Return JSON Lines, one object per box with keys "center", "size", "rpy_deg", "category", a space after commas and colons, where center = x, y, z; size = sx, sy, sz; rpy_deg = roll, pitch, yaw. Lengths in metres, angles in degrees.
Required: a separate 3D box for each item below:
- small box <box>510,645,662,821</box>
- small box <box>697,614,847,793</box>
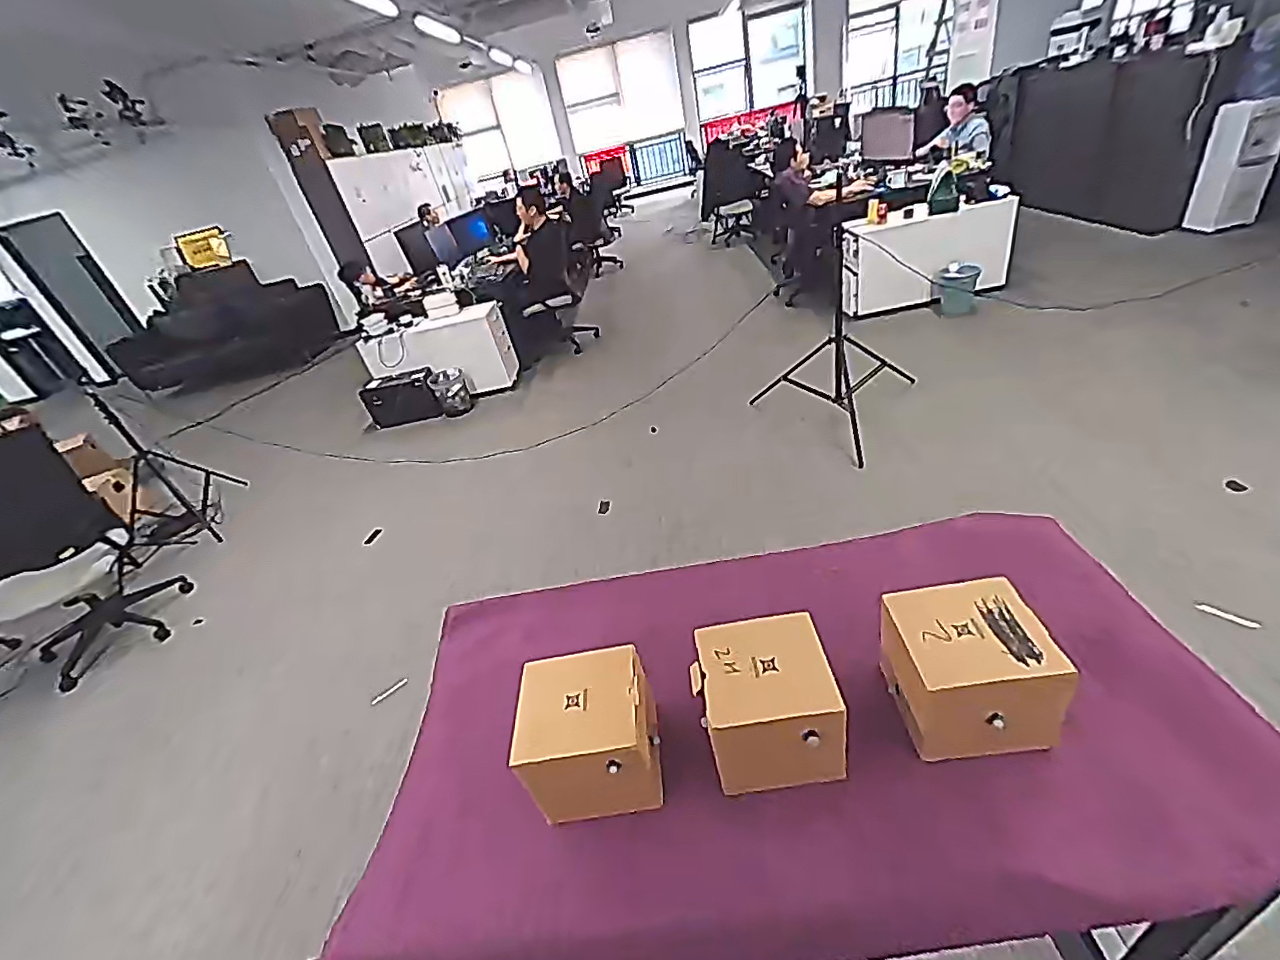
{"center": [-0.073, 0.380, 0.808], "size": [0.179, 0.176, 0.168], "rpy_deg": [-11, 33, 3], "category": "small box"}
{"center": [0.187, 0.324, 0.787], "size": [0.179, 0.176, 0.168], "rpy_deg": [-11, 32, 5], "category": "small box"}
